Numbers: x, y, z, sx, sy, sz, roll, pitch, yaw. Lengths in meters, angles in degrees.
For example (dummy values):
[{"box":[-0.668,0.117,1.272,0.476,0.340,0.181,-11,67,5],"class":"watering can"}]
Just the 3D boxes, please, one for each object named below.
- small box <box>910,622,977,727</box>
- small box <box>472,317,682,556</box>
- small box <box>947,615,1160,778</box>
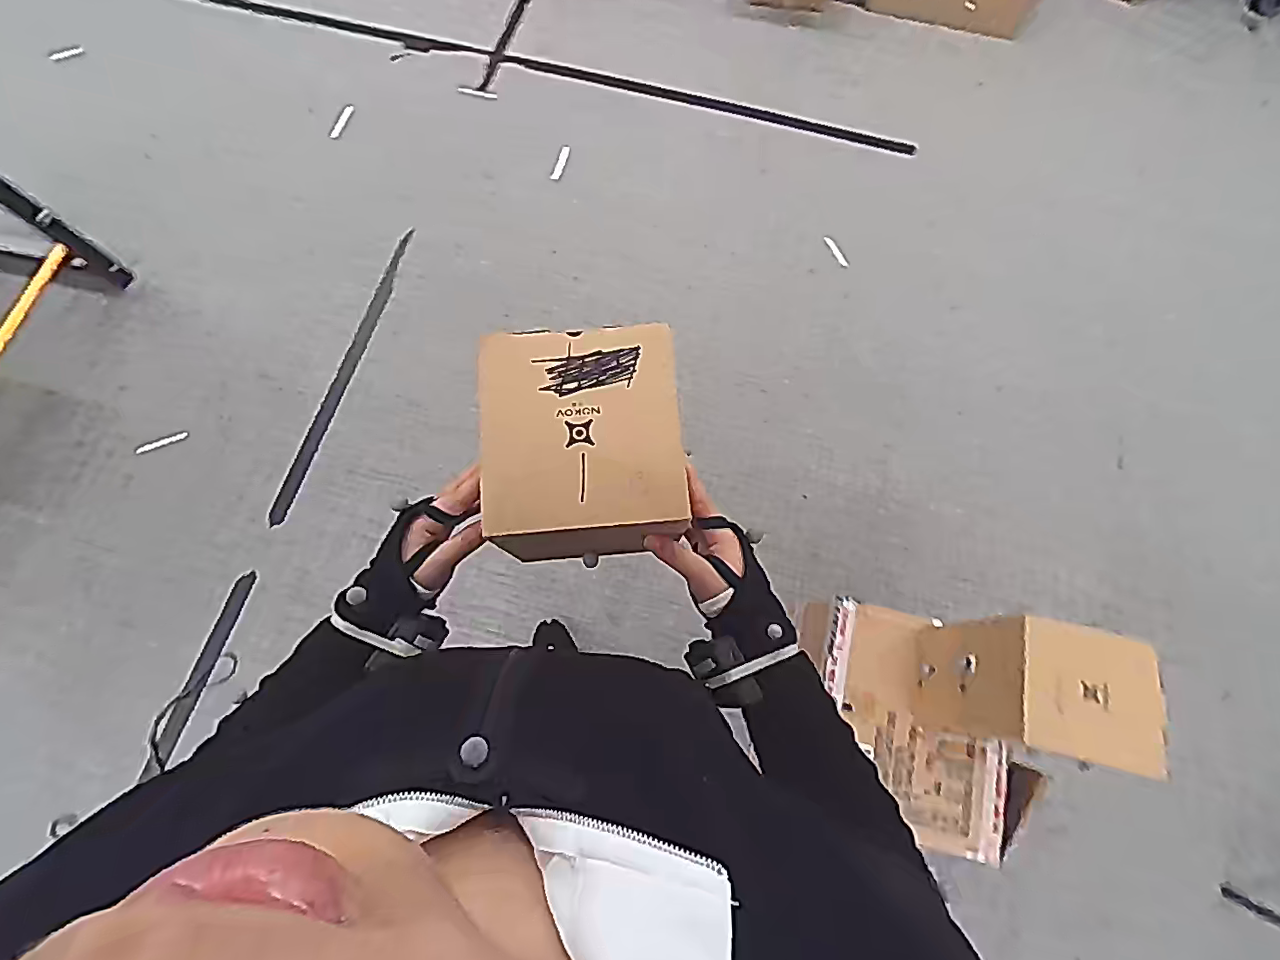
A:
[{"box":[0.595,0.348,0.925,0.179,0.176,0.168,13,72,4],"class":"small box"},{"box":[-0.057,-0.031,0.517,0.168,0.176,0.179,-5,75,-2],"class":"small box"},{"box":[0.574,0.299,0.770,0.179,0.176,0.168,13,71,5],"class":"small box"}]
